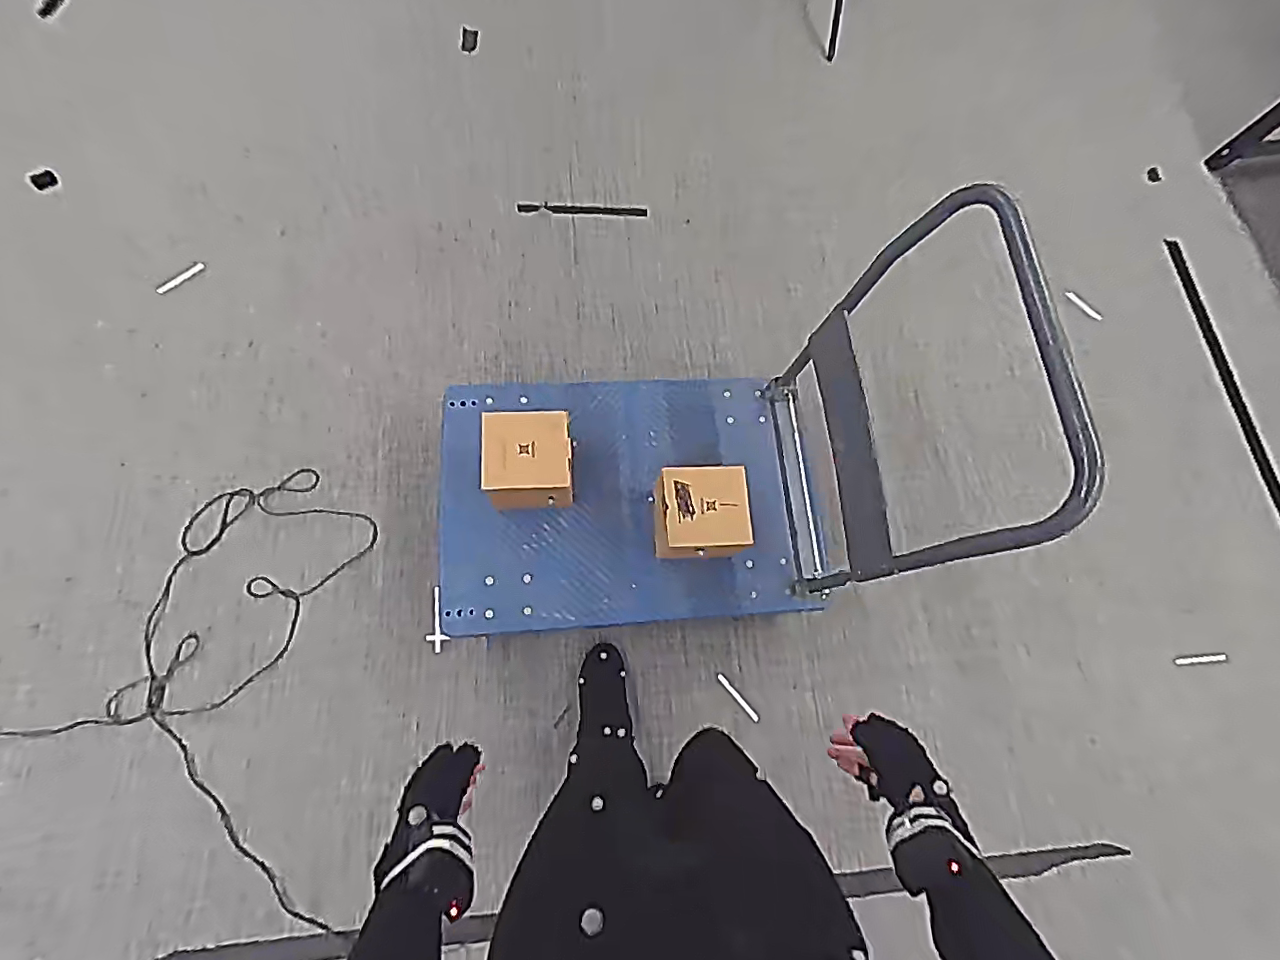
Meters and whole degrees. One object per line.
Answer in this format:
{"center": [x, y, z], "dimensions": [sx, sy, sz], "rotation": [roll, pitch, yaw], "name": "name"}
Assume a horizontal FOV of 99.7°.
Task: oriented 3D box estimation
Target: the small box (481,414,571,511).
{"center": [-0.238, -0.033, 1.165], "dimensions": [0.179, 0.176, 0.168], "rotation": [-2, 73, -6], "name": "small box"}

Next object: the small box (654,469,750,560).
{"center": [0.123, 0.080, 1.166], "dimensions": [0.179, 0.176, 0.168], "rotation": [-1, 73, -6], "name": "small box"}
